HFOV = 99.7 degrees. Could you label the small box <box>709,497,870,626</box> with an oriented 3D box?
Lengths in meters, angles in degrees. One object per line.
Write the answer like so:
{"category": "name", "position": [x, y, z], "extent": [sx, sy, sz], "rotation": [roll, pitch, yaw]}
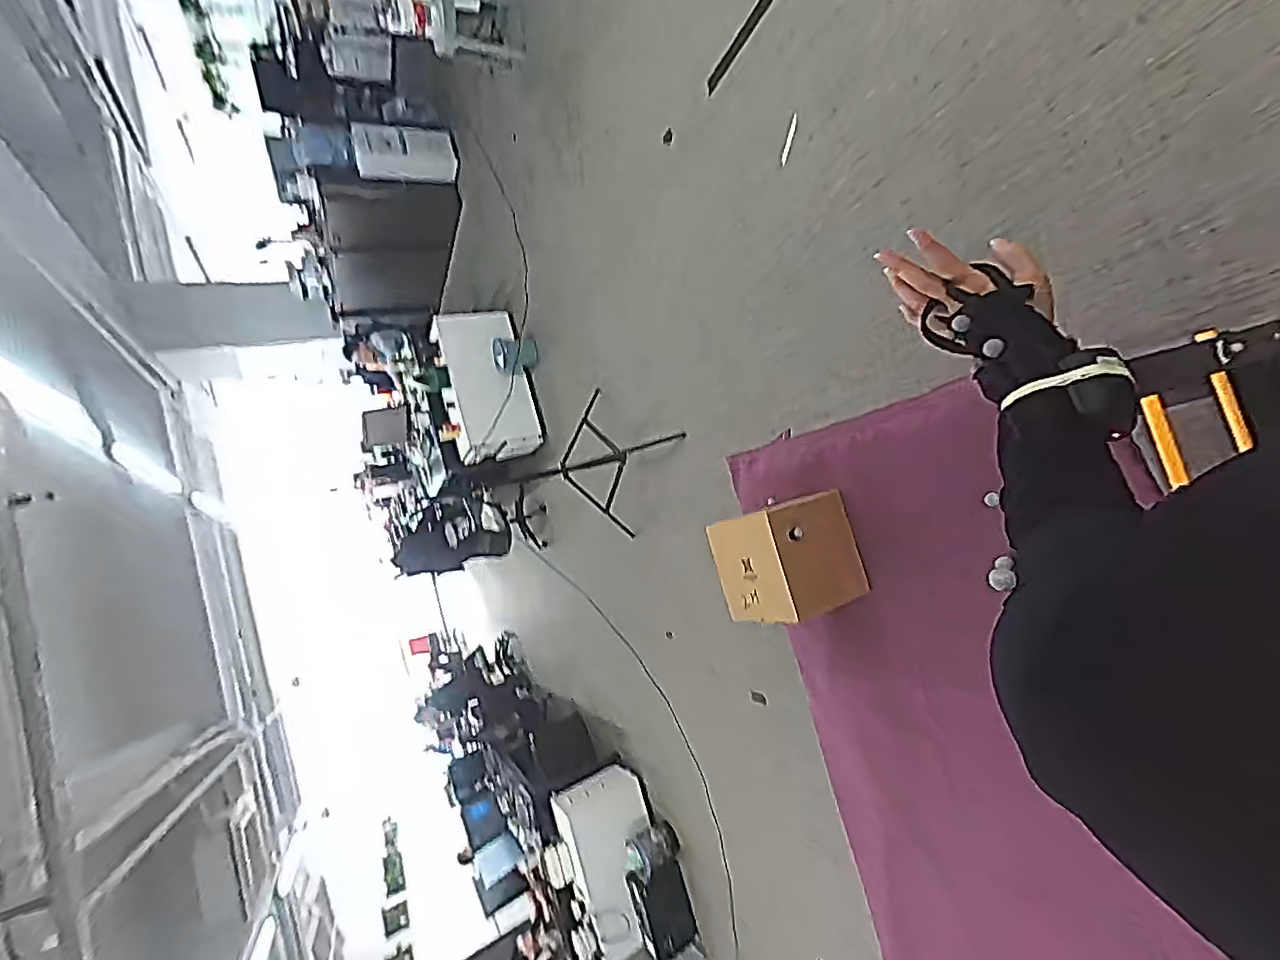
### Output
{"category": "small box", "position": [0.249, 0.133, 0.909], "extent": [0.168, 0.176, 0.179], "rotation": [-26, 79, 61]}
